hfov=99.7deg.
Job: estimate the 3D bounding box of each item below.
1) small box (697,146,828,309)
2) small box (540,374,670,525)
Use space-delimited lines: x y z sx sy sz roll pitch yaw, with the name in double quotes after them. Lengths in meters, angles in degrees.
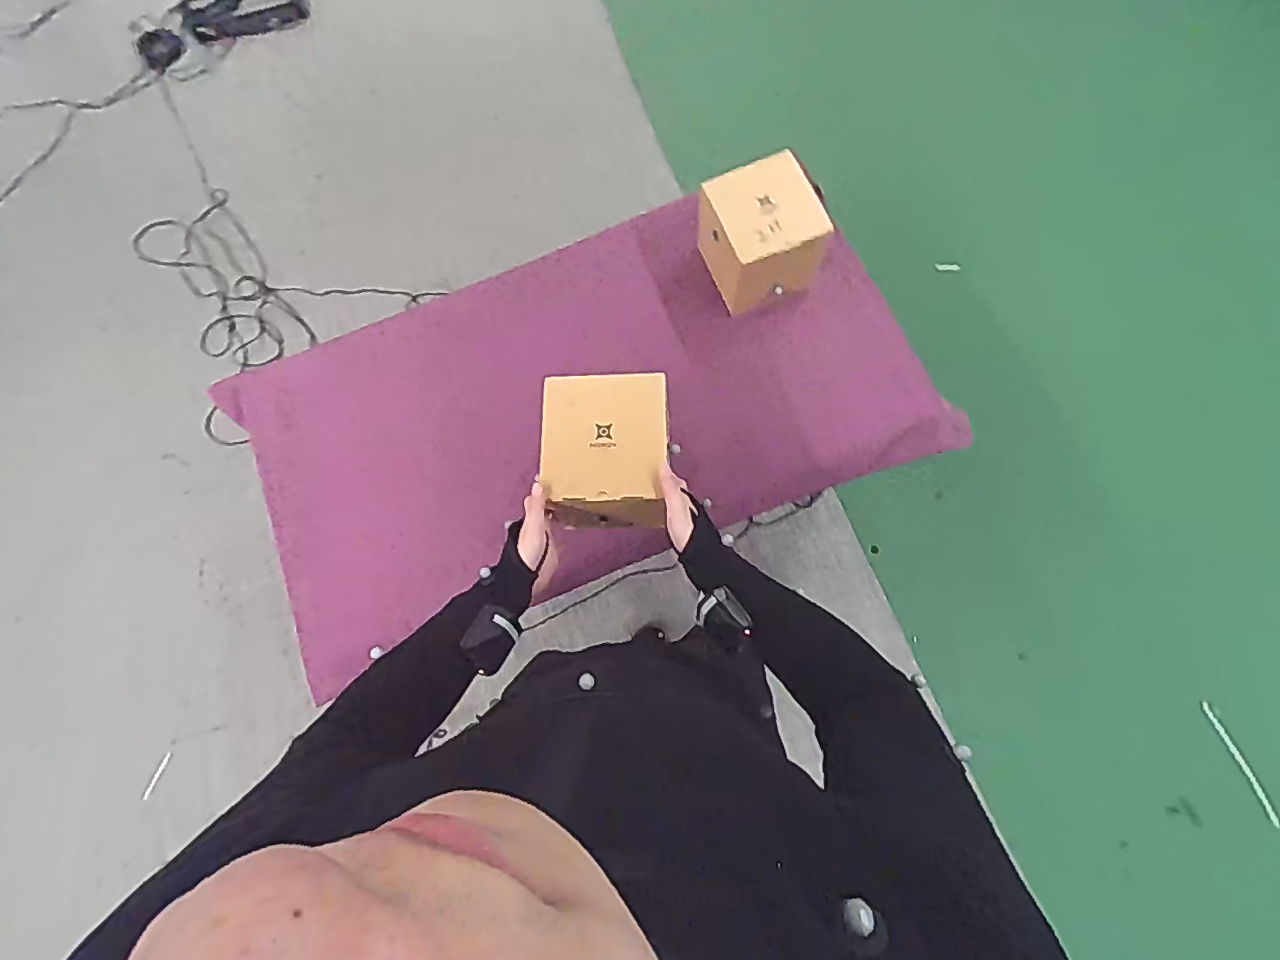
0.208 -0.445 0.977 0.168 0.176 0.179 -22 77 -1 "small box"
-0.042 -0.037 0.780 0.168 0.176 0.179 -1 75 3 "small box"
